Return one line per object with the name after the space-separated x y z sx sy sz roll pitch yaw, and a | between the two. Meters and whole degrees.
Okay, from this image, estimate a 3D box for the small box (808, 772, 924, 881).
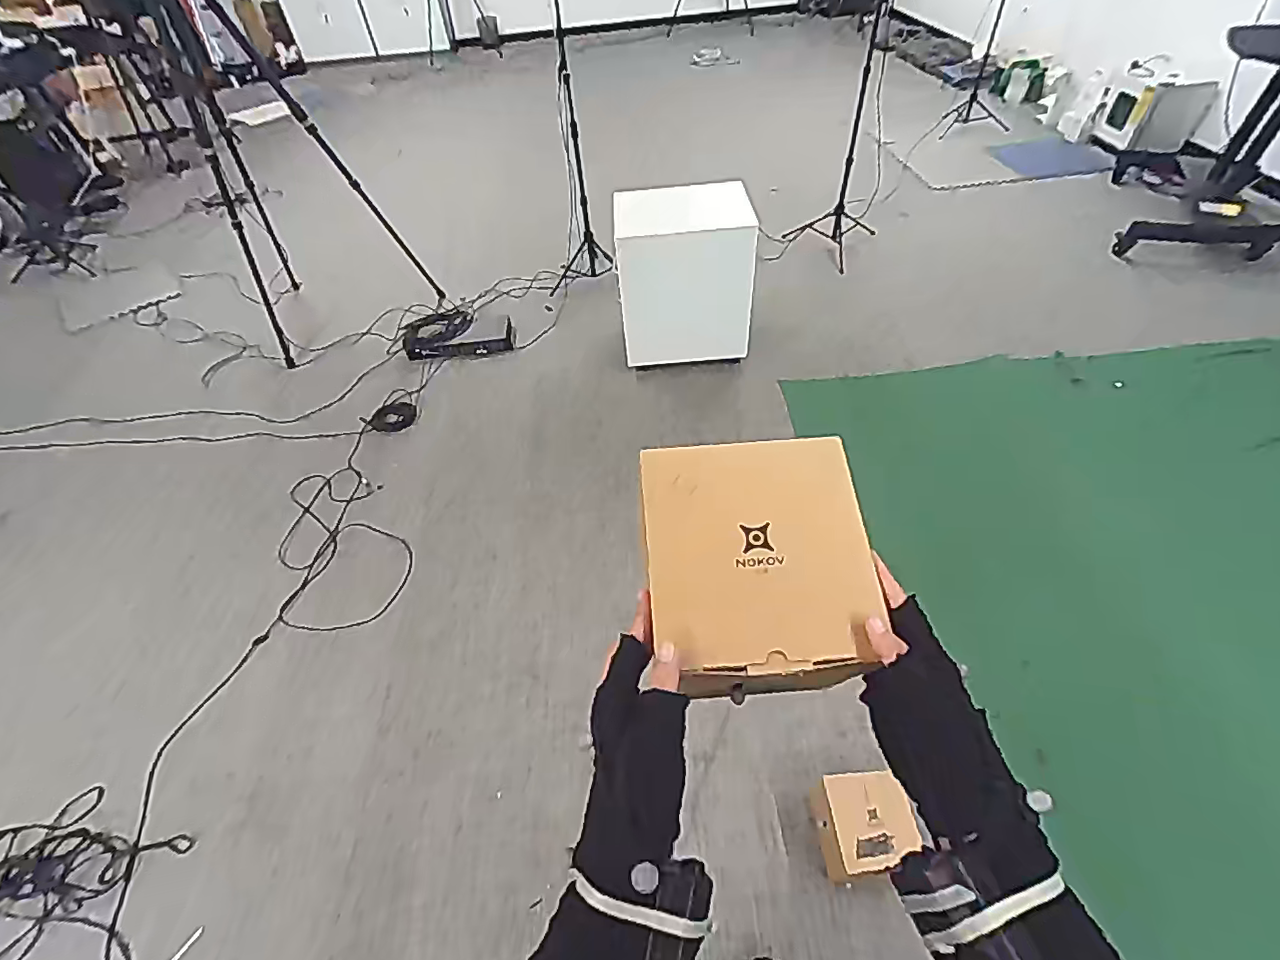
0.473 0.748 1.161 0.168 0.176 0.179 -4 48 0 | small box

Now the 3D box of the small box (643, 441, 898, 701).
0.089 0.086 0.471 0.168 0.176 0.179 -4 63 -1 | small box
